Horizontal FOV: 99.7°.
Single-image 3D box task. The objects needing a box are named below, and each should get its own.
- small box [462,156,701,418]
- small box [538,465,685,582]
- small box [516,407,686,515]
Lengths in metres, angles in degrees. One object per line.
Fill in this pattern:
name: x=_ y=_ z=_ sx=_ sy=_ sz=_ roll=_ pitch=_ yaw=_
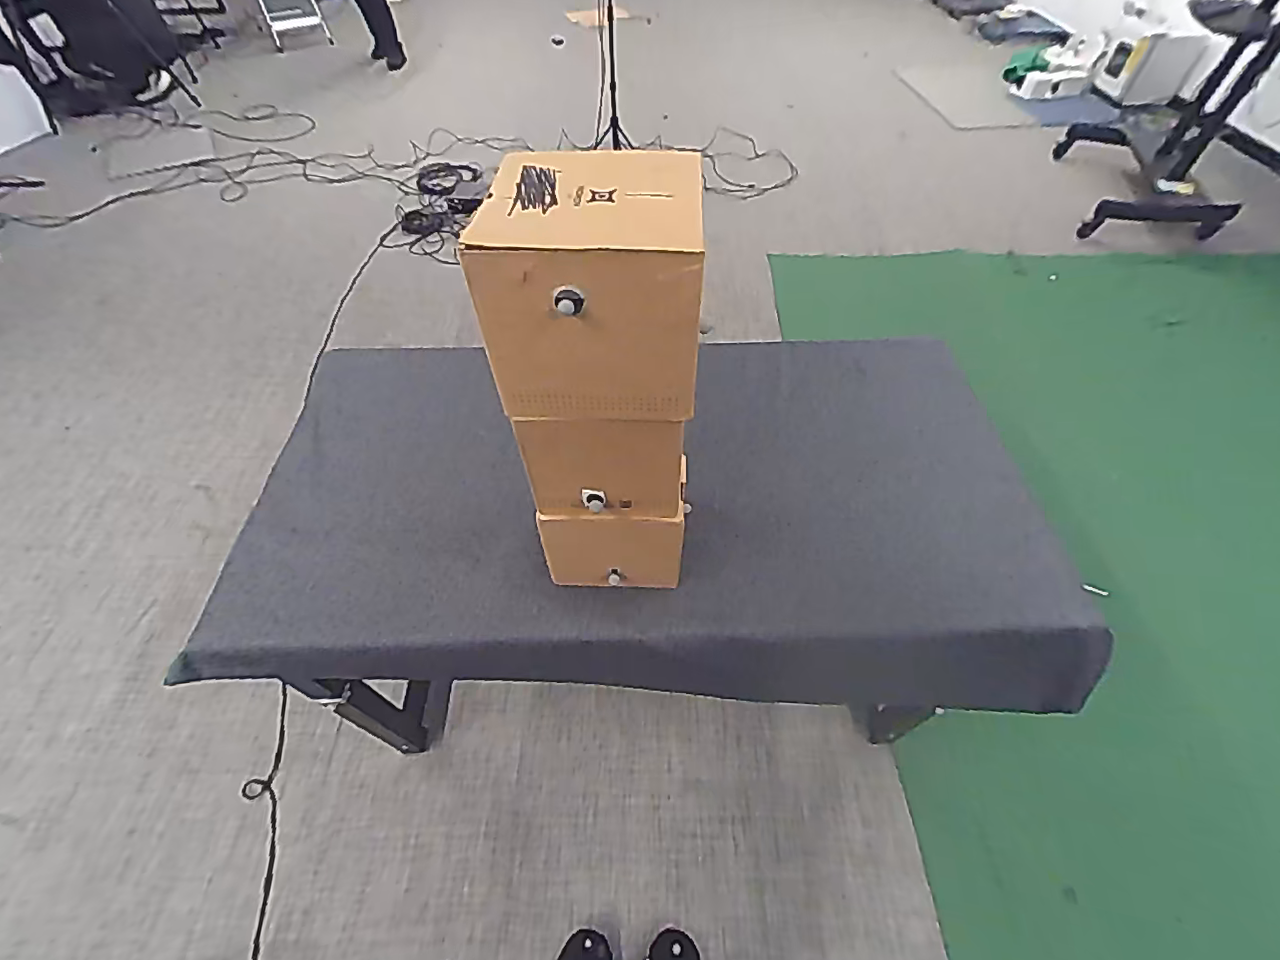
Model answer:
small box: x=-0.036 y=-0.172 z=0.496 sx=0.179 sy=0.176 sz=0.168 roll=2 pitch=52 yaw=2
small box: x=-0.033 y=0.031 z=0.751 sx=0.179 sy=0.176 sz=0.168 roll=1 pitch=52 yaw=1
small box: x=-0.035 y=-0.077 z=0.629 sx=0.168 sy=0.176 sz=0.179 roll=-1 pitch=53 yaw=2
